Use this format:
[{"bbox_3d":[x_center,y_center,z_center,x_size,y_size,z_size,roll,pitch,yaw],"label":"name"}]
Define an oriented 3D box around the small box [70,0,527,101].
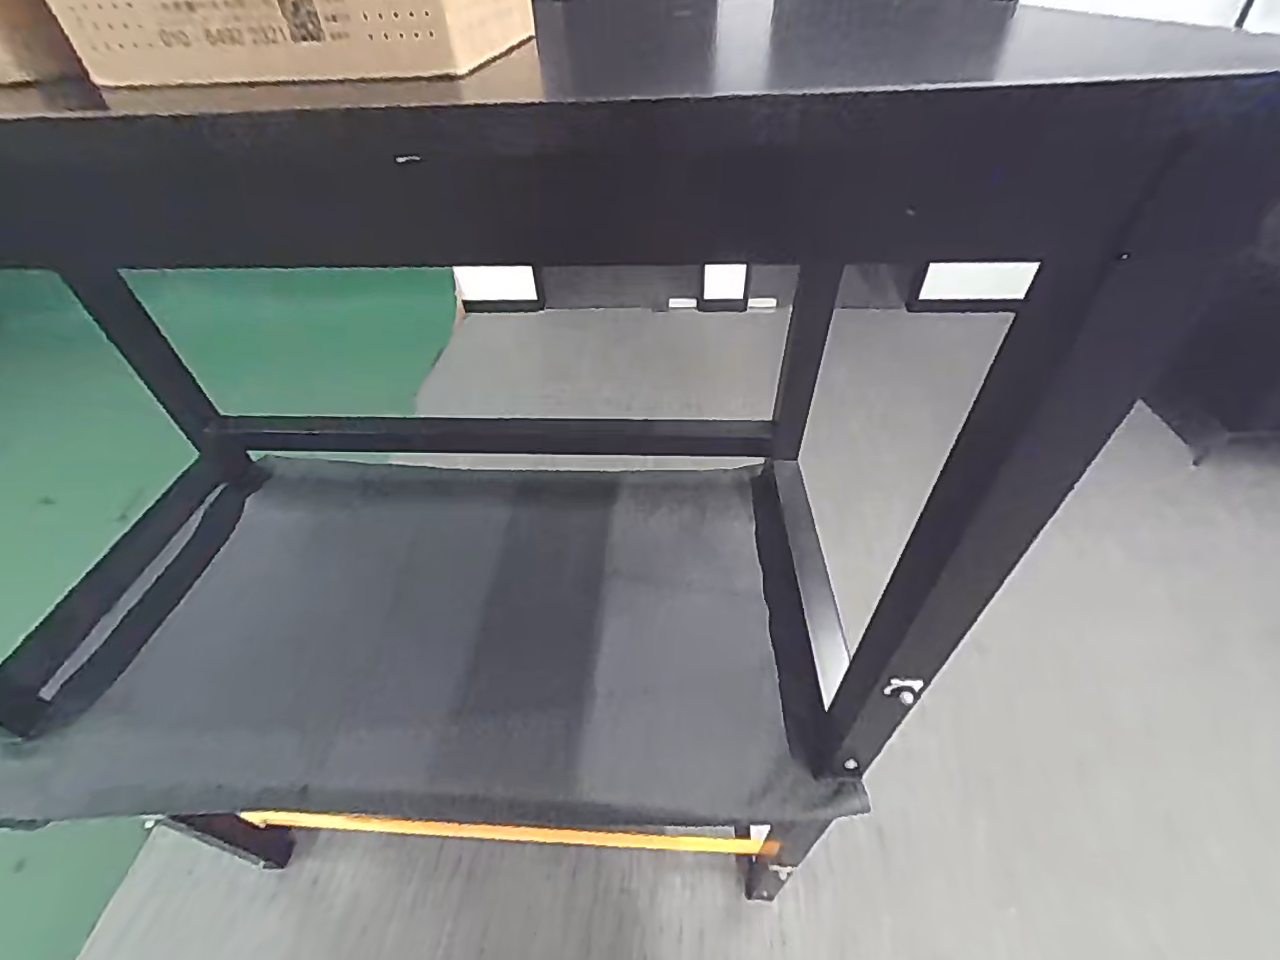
[{"bbox_3d":[-0.157,-0.284,0.244,0.168,0.176,0.179,1,44,3],"label":"small box"}]
